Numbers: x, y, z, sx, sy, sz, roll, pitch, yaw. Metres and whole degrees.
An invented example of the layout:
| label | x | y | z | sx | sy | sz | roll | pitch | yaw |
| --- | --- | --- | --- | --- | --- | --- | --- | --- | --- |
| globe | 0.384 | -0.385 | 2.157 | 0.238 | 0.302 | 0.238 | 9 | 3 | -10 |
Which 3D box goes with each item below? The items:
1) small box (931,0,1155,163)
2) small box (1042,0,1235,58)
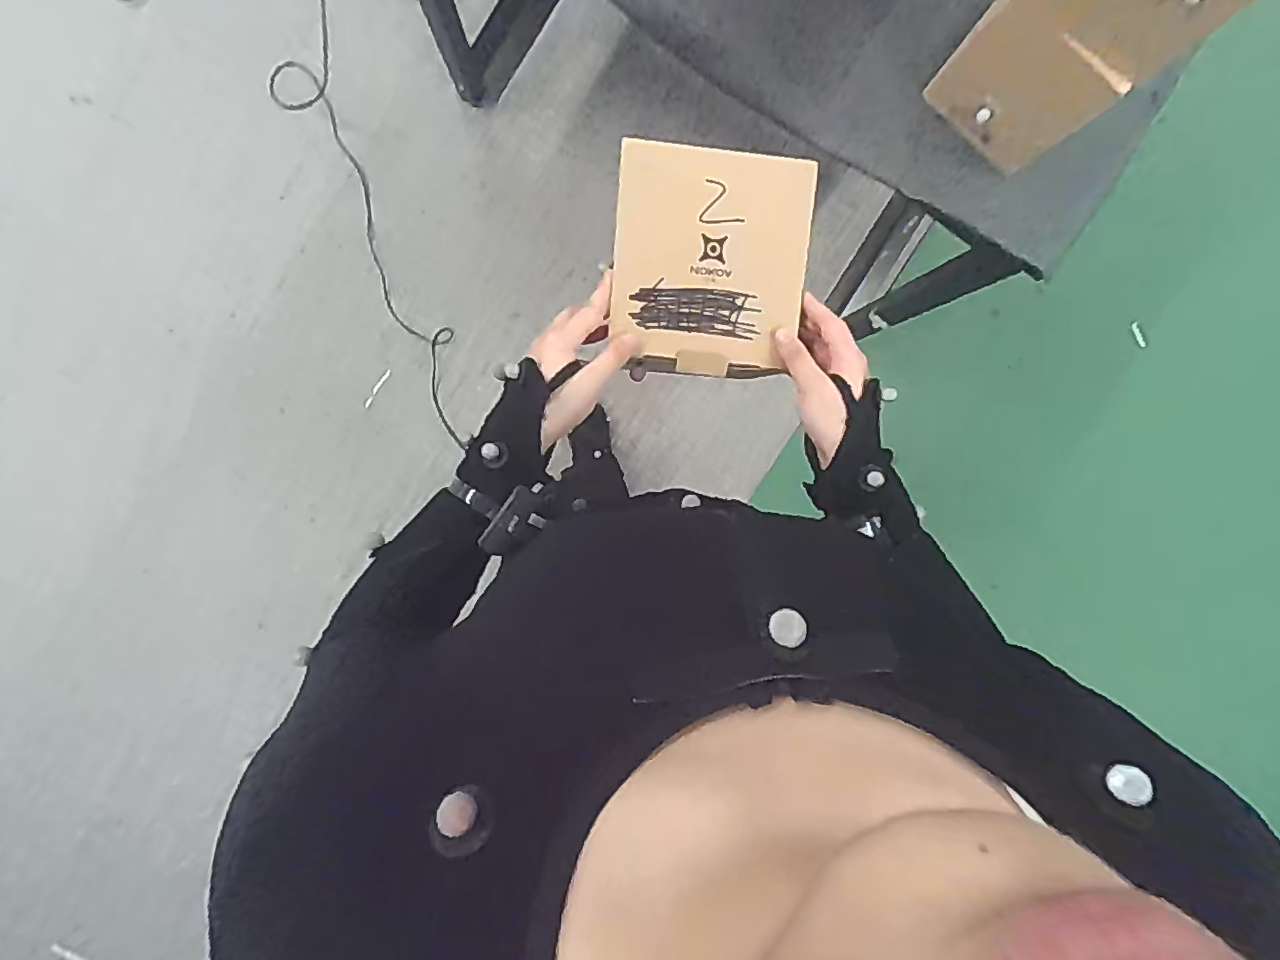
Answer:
| label | x | y | z | sx | sy | sz | roll | pitch | yaw |
| --- | --- | --- | --- | --- | --- | --- | --- | --- | --- |
| small box | 0.496 | -0.535 | 0.644 | 0.168 | 0.176 | 0.179 | 38 | 89 | -4 |
| small box | 0.499 | -0.536 | 0.482 | 0.179 | 0.176 | 0.168 | 31 | 88 | -3 |
